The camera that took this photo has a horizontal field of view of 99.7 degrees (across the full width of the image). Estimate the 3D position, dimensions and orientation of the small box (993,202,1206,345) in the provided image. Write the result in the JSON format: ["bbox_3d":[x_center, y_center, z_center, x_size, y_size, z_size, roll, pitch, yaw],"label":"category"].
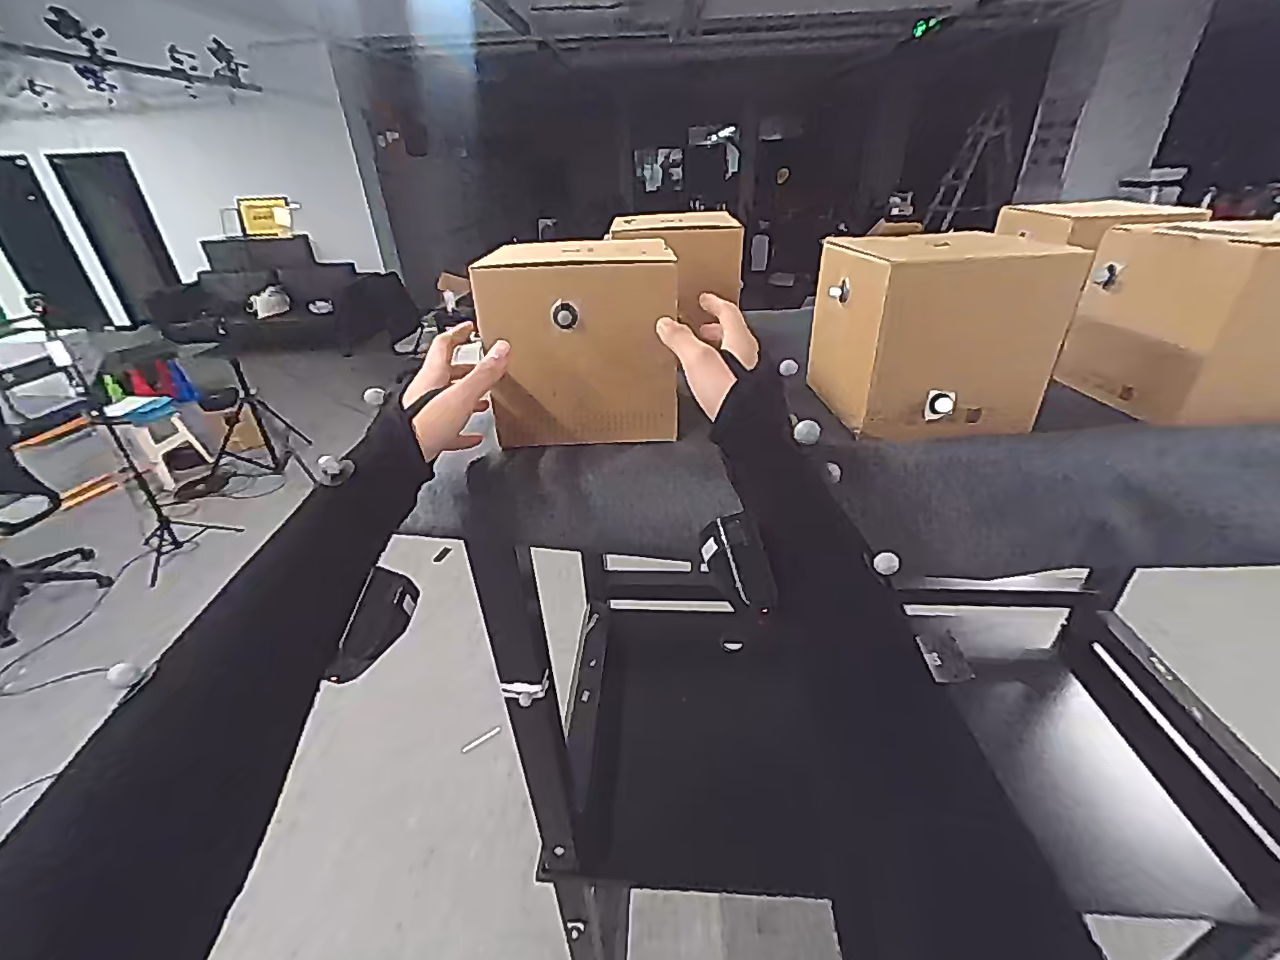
[{"bbox_3d":[0.628,-0.298,0.783,0.168,0.176,0.179,-1,30,3],"label":"small box"}]

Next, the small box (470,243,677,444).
[{"bbox_3d":[-0.055,-0.142,0.554,0.179,0.176,0.168,-2,29,-1],"label":"small box"}]

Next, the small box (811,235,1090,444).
[{"bbox_3d":[0.283,-0.147,0.546,0.168,0.176,0.179,-3,29,0],"label":"small box"}]

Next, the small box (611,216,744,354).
[{"bbox_3d":[0.051,-0.291,0.806,0.179,0.176,0.168,0,31,1],"label":"small box"}]
